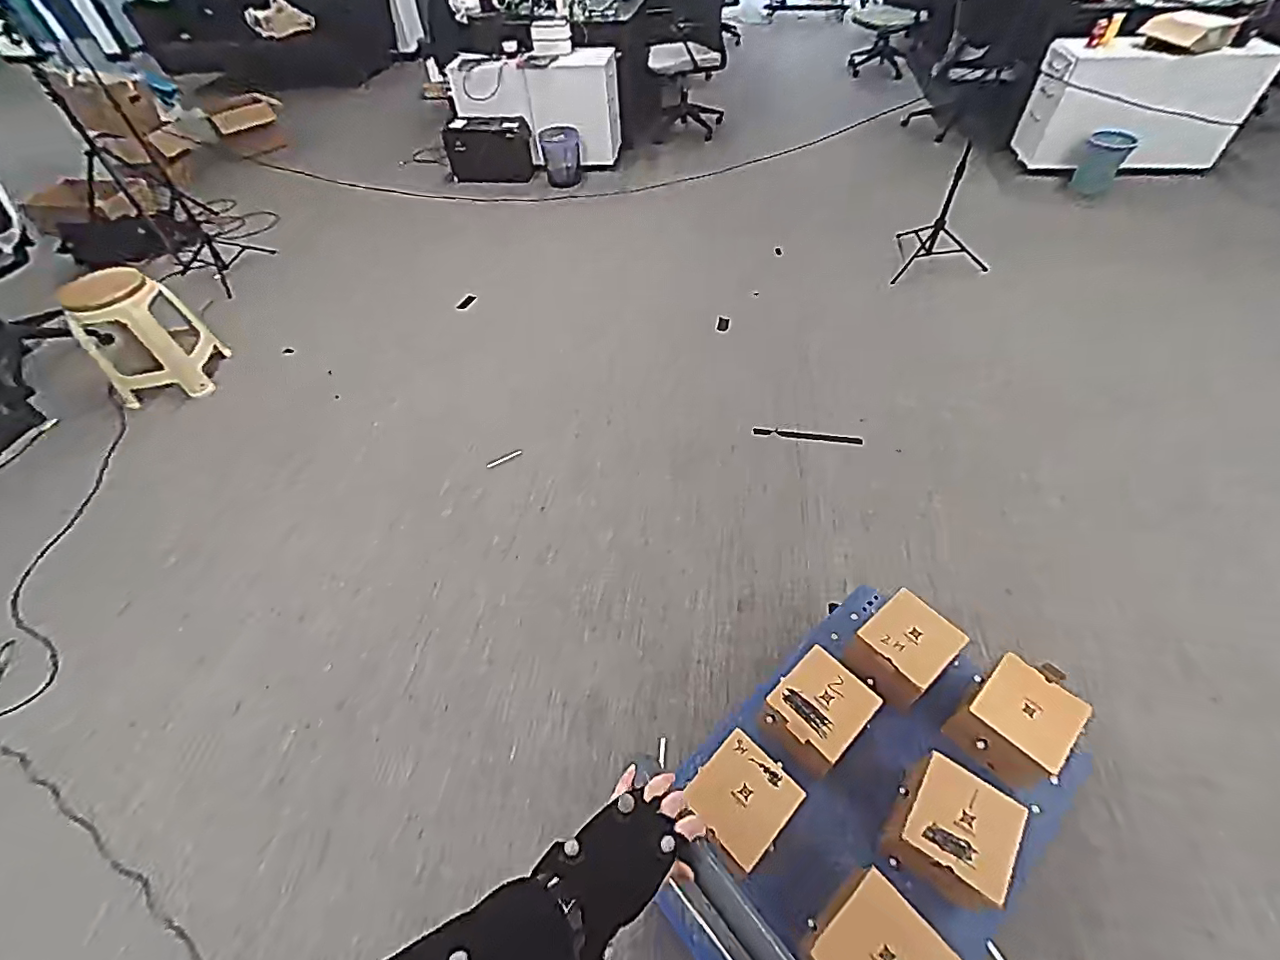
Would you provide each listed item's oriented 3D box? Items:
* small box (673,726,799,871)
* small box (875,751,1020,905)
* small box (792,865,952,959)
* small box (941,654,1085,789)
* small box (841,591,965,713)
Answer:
[{"bbox_3d":[0.183,0.629,1.061,0.179,0.176,0.168,-37,59,-24],"label":"small box"},{"bbox_3d":[0.567,0.659,1.018,0.168,0.176,0.179,30,57,25],"label":"small box"},{"bbox_3d":[0.378,0.800,0.914,0.179,0.176,0.168,-33,57,-23],"label":"small box"},{"bbox_3d":[0.765,0.508,1.131,0.179,0.176,0.168,-36,57,-24],"label":"small box"},{"bbox_3d":[0.588,0.393,1.234,0.179,0.176,0.168,-33,56,-21],"label":"small box"}]
